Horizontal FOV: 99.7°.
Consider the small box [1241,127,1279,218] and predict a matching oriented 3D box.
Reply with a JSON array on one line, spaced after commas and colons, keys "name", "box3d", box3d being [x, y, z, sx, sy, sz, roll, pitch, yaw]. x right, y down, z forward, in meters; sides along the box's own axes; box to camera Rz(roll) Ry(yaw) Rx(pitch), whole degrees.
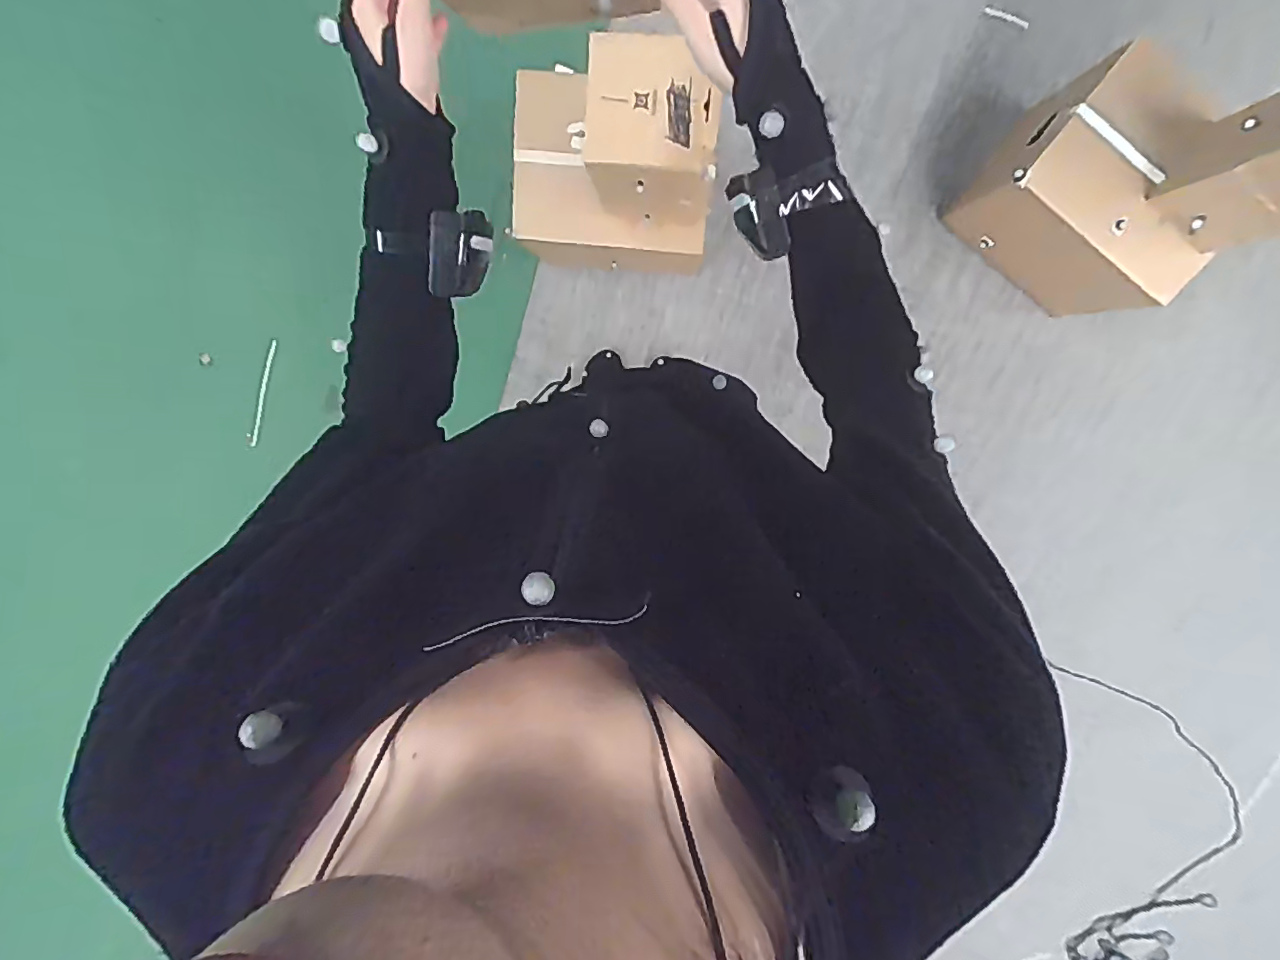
[{"name": "small box", "box3d": [1.085, -0.493, 0.798, 0.179, 0.176, 0.168, 39, 99, -5]}]

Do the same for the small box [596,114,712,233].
[{"name": "small box", "box3d": [0.026, -0.570, 0.998, 0.179, 0.176, 0.168, 10, 102, 1]}]

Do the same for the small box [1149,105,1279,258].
[{"name": "small box", "box3d": [1.083, -0.528, 0.956, 0.168, 0.176, 0.179, 38, 100, -5]}]

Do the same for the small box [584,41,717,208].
[{"name": "small box", "box3d": [0.017, -0.534, 0.838, 0.179, 0.176, 0.168, 6, 102, 3]}]

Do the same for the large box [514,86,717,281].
[{"name": "large box", "box3d": [-0.044, -0.646, 1.237, 0.408, 0.320, 0.320, 6, 101, 3]}]

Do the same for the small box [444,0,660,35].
[{"name": "small box", "box3d": [-0.071, -0.436, 0.372, 0.168, 0.176, 0.179, -6, 117, 2]}]
